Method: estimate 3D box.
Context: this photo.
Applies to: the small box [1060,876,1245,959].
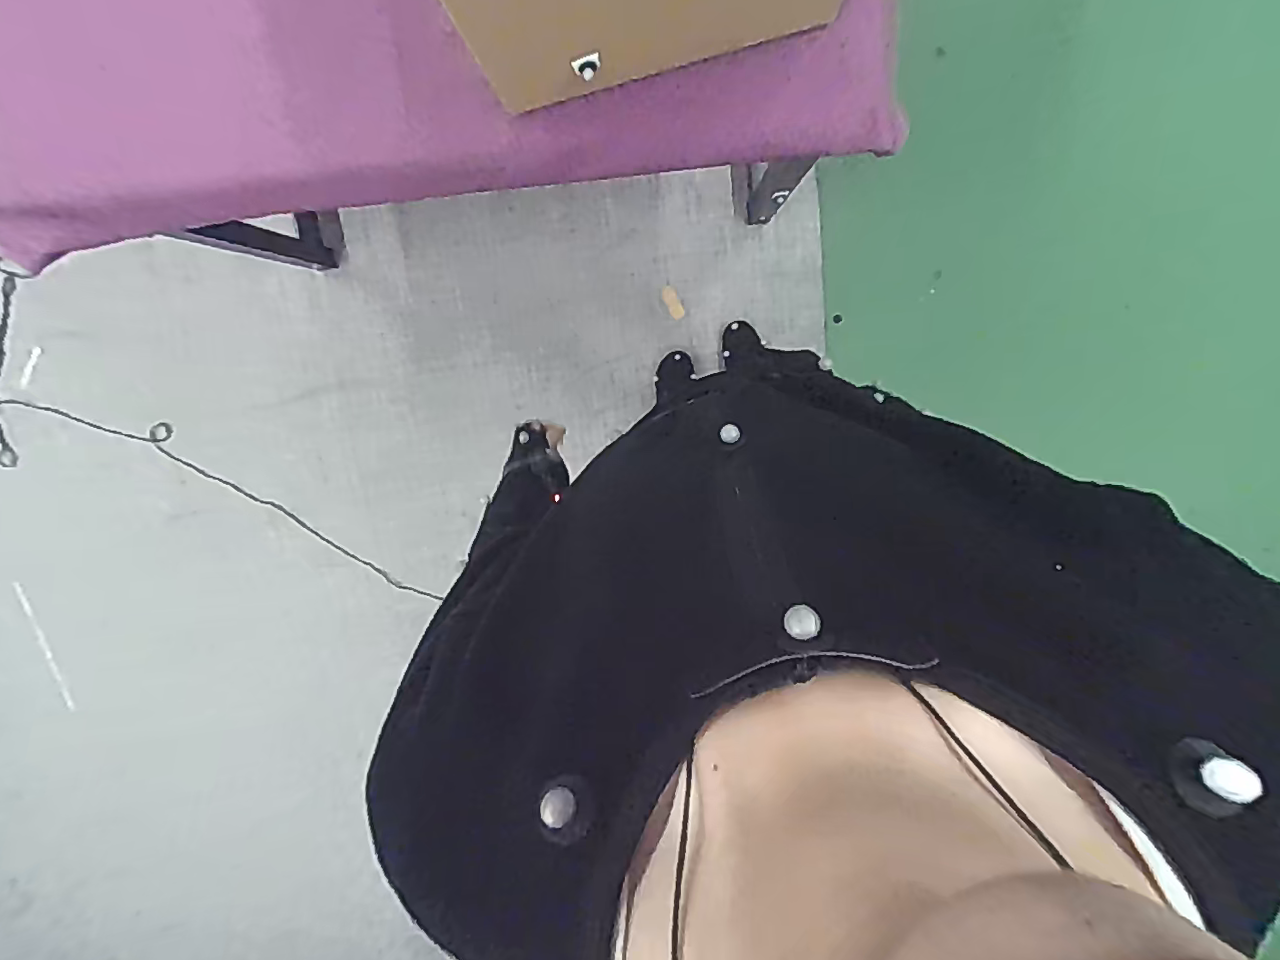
[{"bbox_3d":[0.775,0.743,0.797,0.168,0.176,0.179,13,103,-1],"label":"small box"}]
